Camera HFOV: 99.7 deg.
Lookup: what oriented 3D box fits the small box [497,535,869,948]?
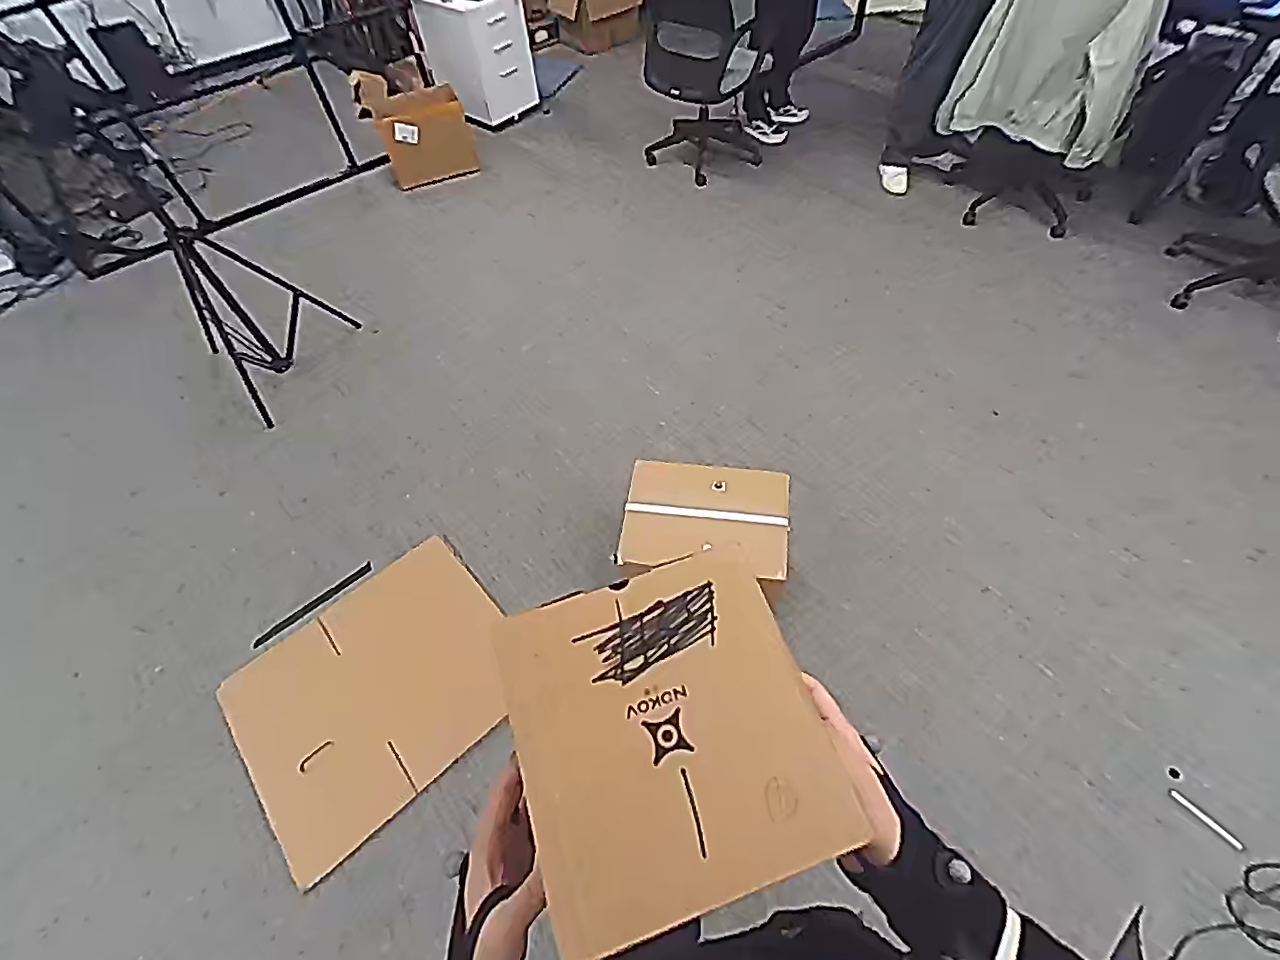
[{"bbox_3d":[0.017,0.168,0.372,0.168,0.176,0.179,-18,61,-6],"label":"small box"}]
